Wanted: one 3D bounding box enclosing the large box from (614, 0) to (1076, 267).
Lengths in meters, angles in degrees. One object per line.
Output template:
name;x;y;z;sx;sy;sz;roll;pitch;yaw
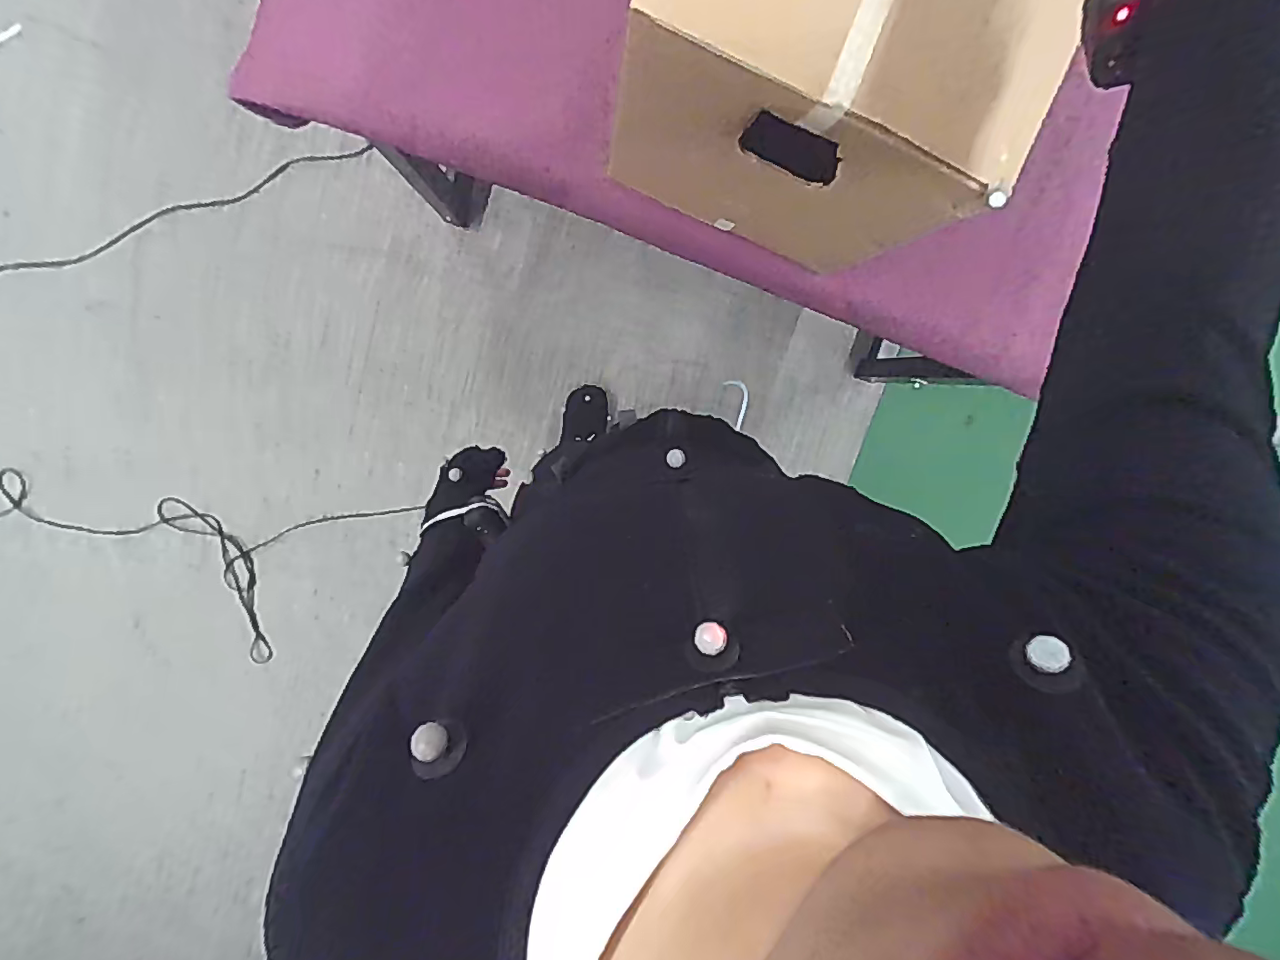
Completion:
large box;0.191;-0.485;0.526;0.320;0.320;0.408;20;99;-9
